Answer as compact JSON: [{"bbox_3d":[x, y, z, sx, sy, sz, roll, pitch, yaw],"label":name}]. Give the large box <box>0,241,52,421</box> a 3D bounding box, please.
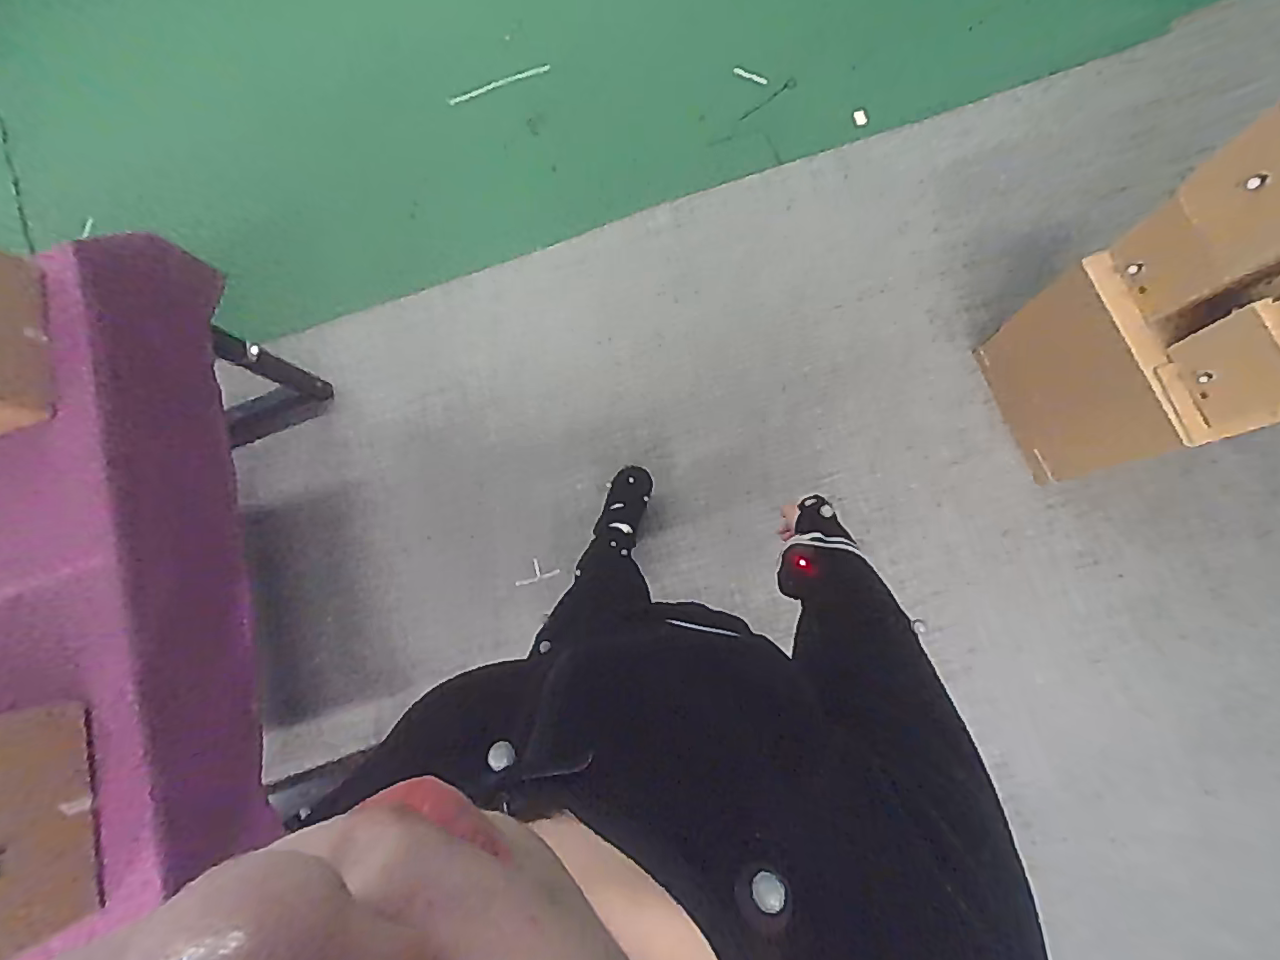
[{"bbox_3d":[-1.271,-0.237,0.834,0.408,0.320,0.320,-17,79,2],"label":"large box"}]
